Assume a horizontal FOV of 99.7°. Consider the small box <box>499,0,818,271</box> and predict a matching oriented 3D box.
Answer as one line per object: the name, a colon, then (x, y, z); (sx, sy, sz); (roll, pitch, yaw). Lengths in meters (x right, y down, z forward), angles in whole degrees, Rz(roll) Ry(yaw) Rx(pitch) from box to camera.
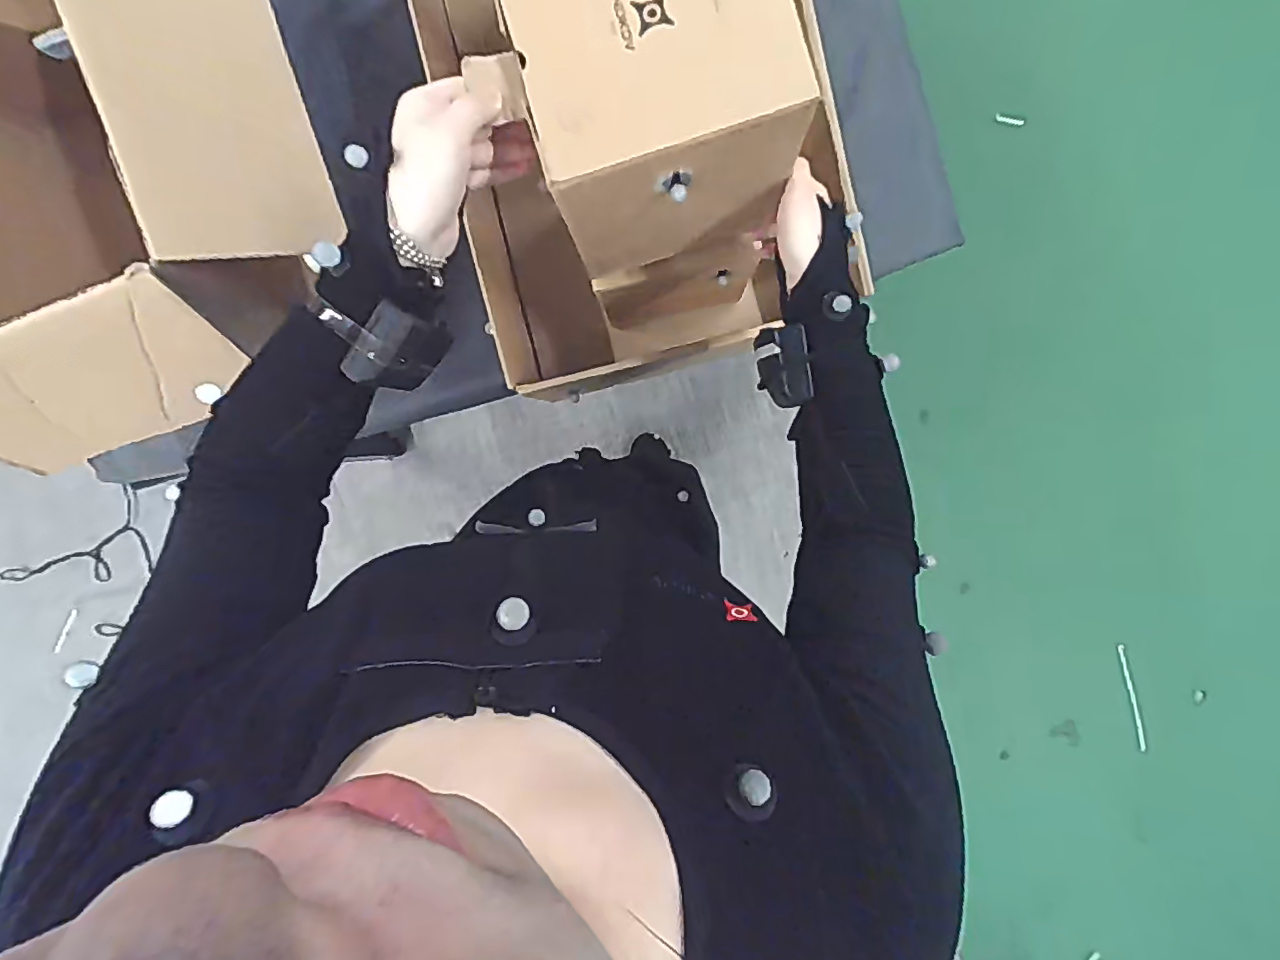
small box: (0.012, -0.286, 0.417); (0.179, 0.176, 0.168); (-16, 90, 4)
